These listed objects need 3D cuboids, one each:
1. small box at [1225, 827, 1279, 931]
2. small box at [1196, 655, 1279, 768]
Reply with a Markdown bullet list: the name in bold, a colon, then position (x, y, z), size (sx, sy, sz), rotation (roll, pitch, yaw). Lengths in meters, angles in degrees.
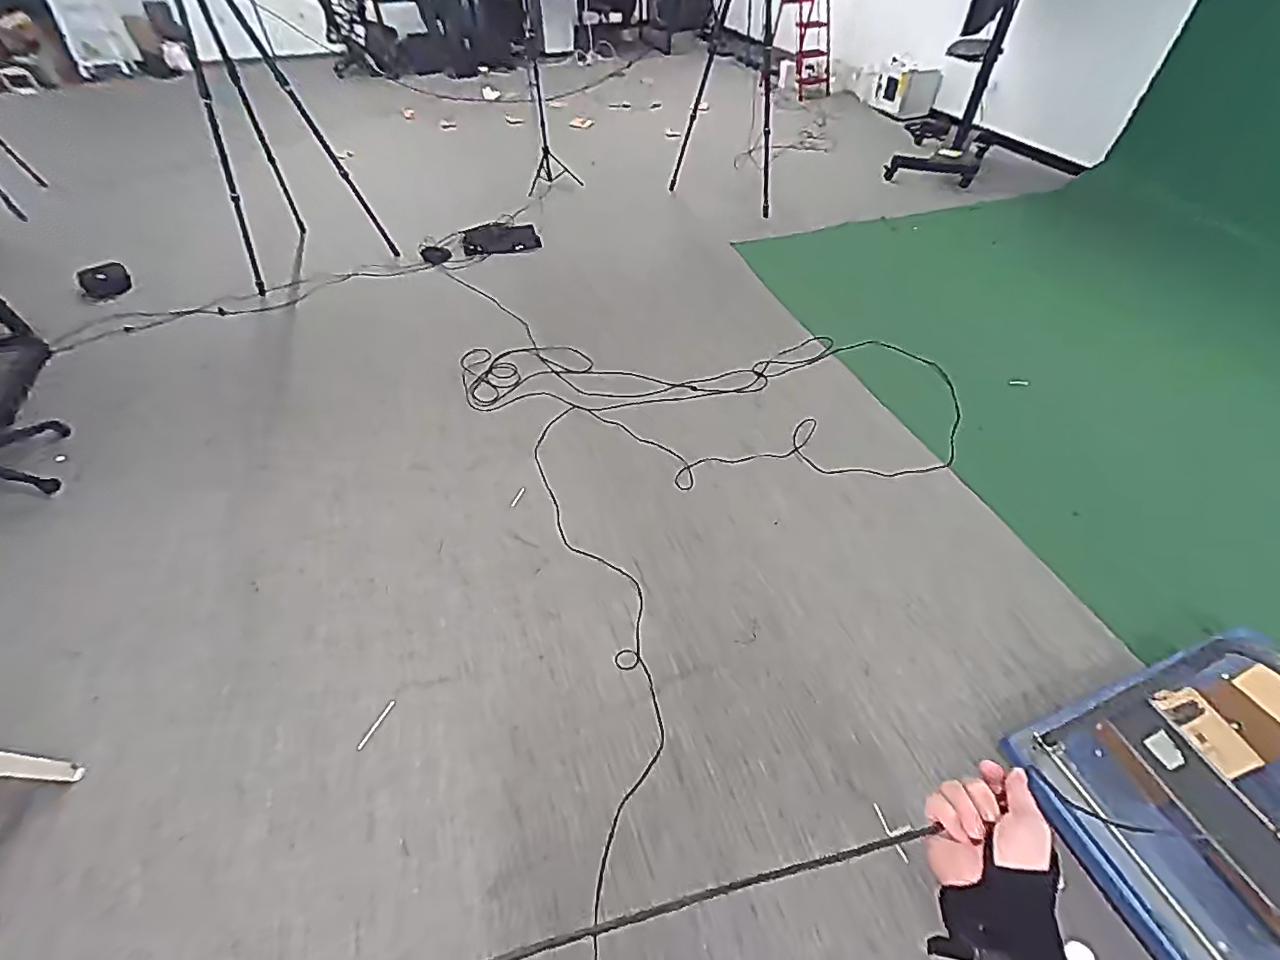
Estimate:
- **small box**: position (1.337, 0.789, 1.059), size (0.179, 0.176, 0.168), rotation (-16, 50, -11)
- **small box**: position (1.487, 0.547, 1.272), size (0.179, 0.176, 0.168), rotation (-19, 51, -15)
